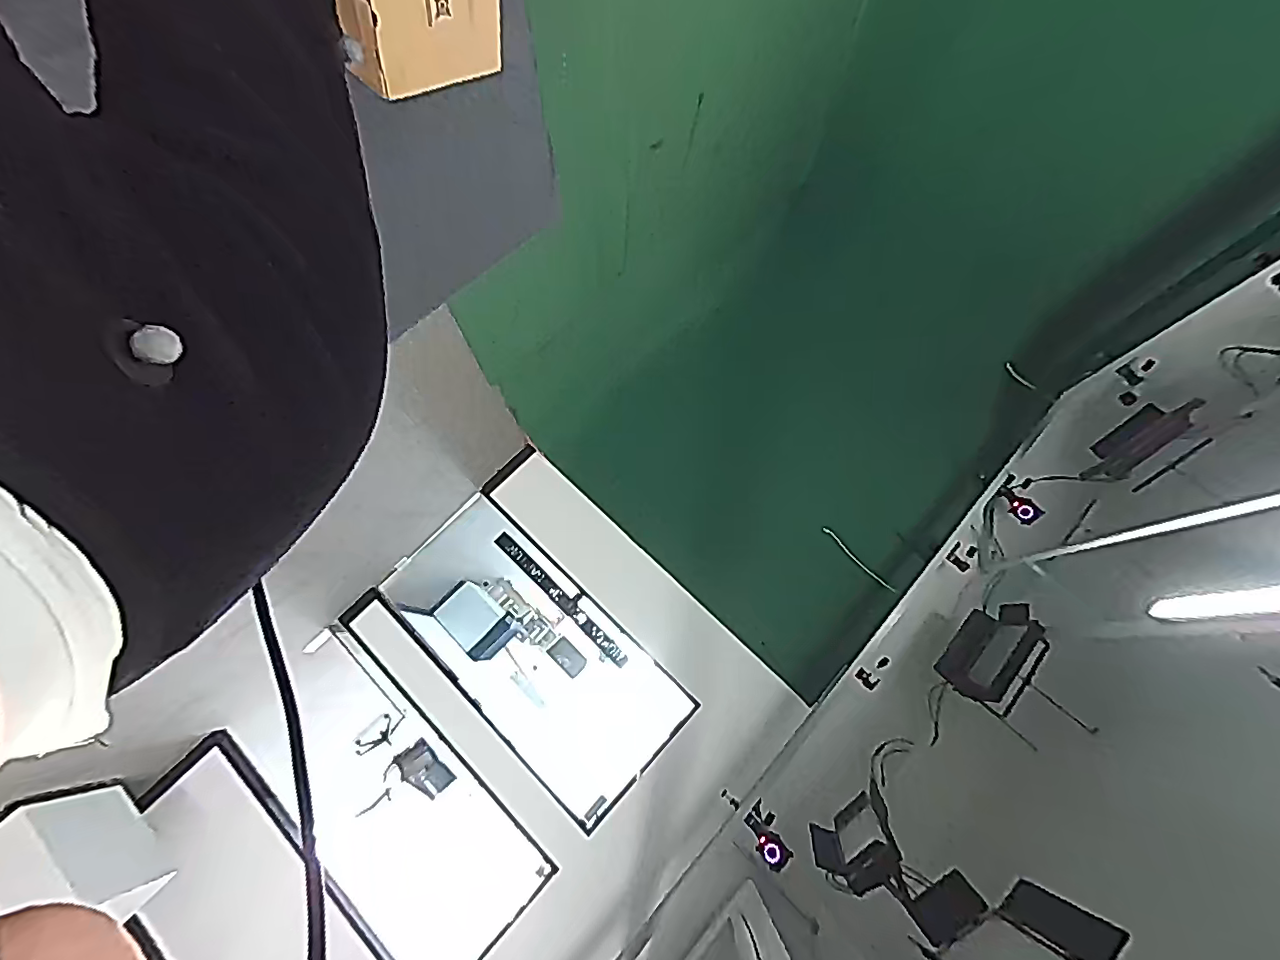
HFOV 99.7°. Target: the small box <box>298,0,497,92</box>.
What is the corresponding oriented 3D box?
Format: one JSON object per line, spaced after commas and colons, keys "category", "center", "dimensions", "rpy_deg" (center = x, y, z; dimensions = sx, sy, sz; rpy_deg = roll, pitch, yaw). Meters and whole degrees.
{"category": "small box", "center": [-0.291, -0.602, 0.631], "dimensions": [0.179, 0.176, 0.168], "rpy_deg": [-42, 169, -28]}
